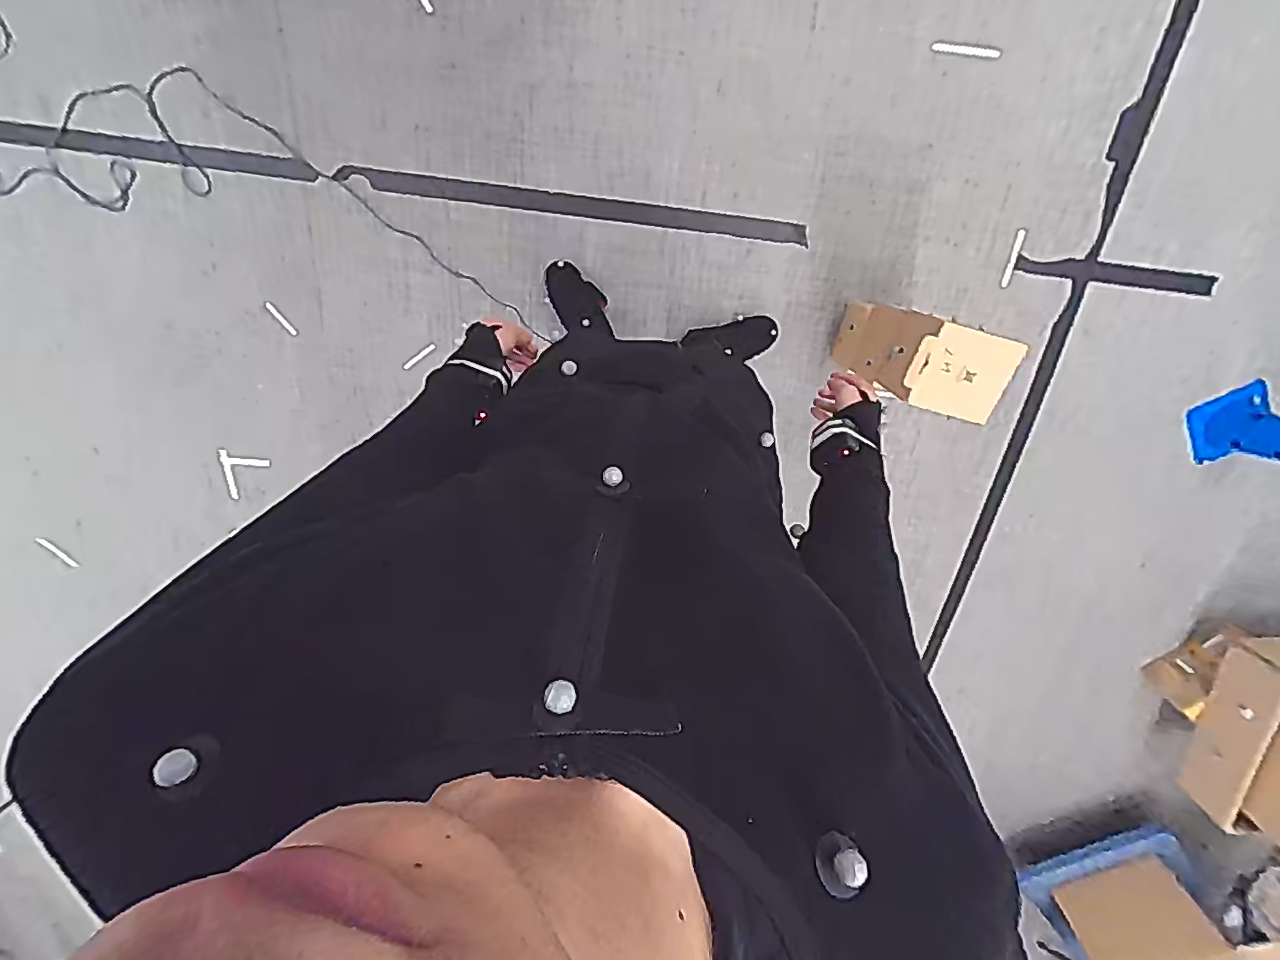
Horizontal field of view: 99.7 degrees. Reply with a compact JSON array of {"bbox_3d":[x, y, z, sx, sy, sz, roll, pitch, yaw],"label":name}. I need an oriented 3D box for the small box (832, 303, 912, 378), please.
[{"bbox_3d":[0.628,-0.364,1.423,0.179,0.176,0.168,10,114,-2],"label":"small box"}]

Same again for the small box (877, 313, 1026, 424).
[{"bbox_3d":[0.630,-0.237,1.118,0.179,0.176,0.168,15,114,-4],"label":"small box"}]
